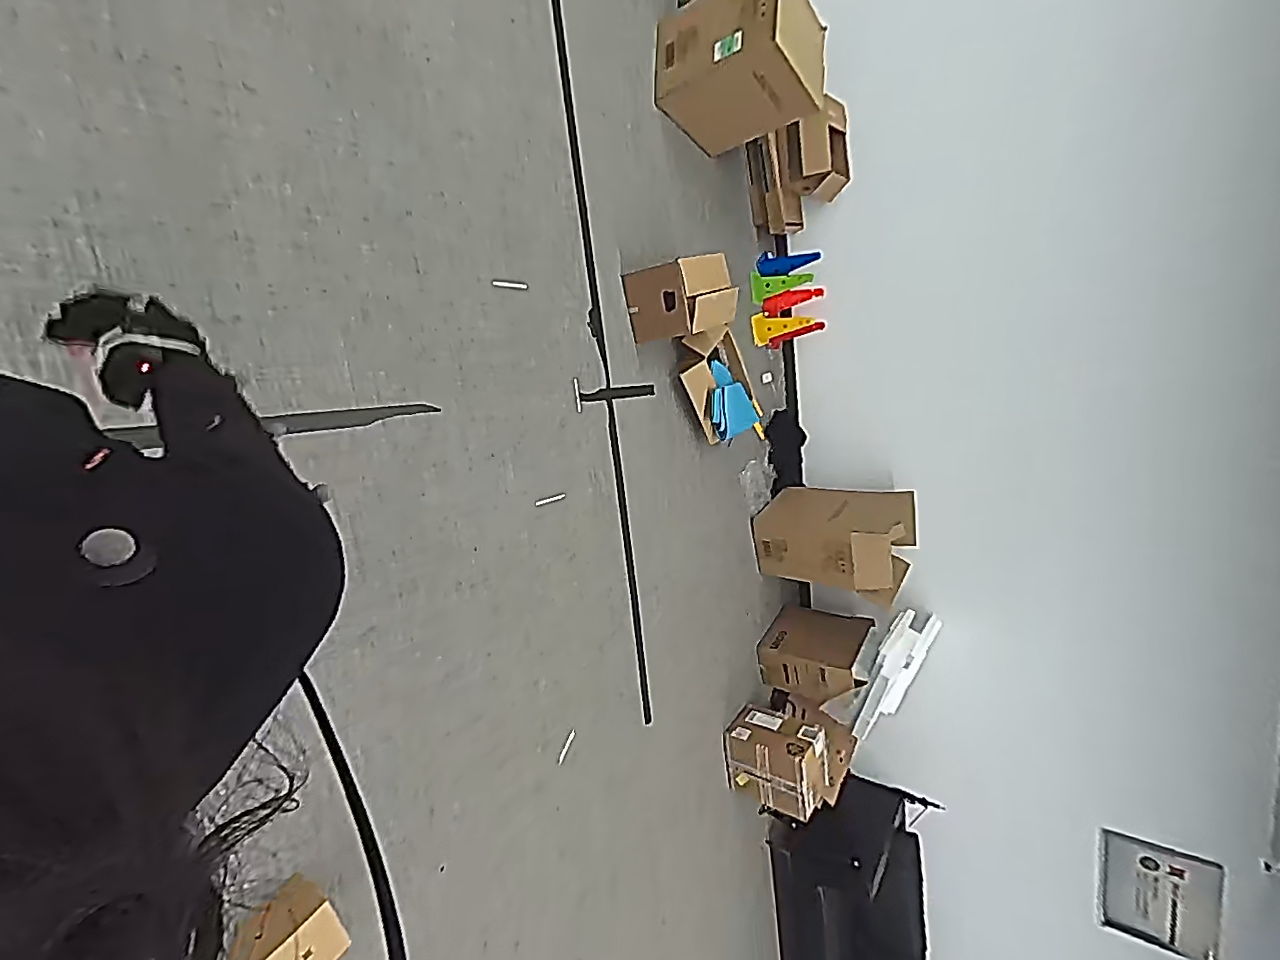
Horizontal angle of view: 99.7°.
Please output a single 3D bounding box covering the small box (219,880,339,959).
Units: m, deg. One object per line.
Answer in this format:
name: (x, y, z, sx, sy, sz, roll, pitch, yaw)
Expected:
small box: (-0.884, 1.138, 1.317, 0.179, 0.176, 0.168, -36, 120, -48)
